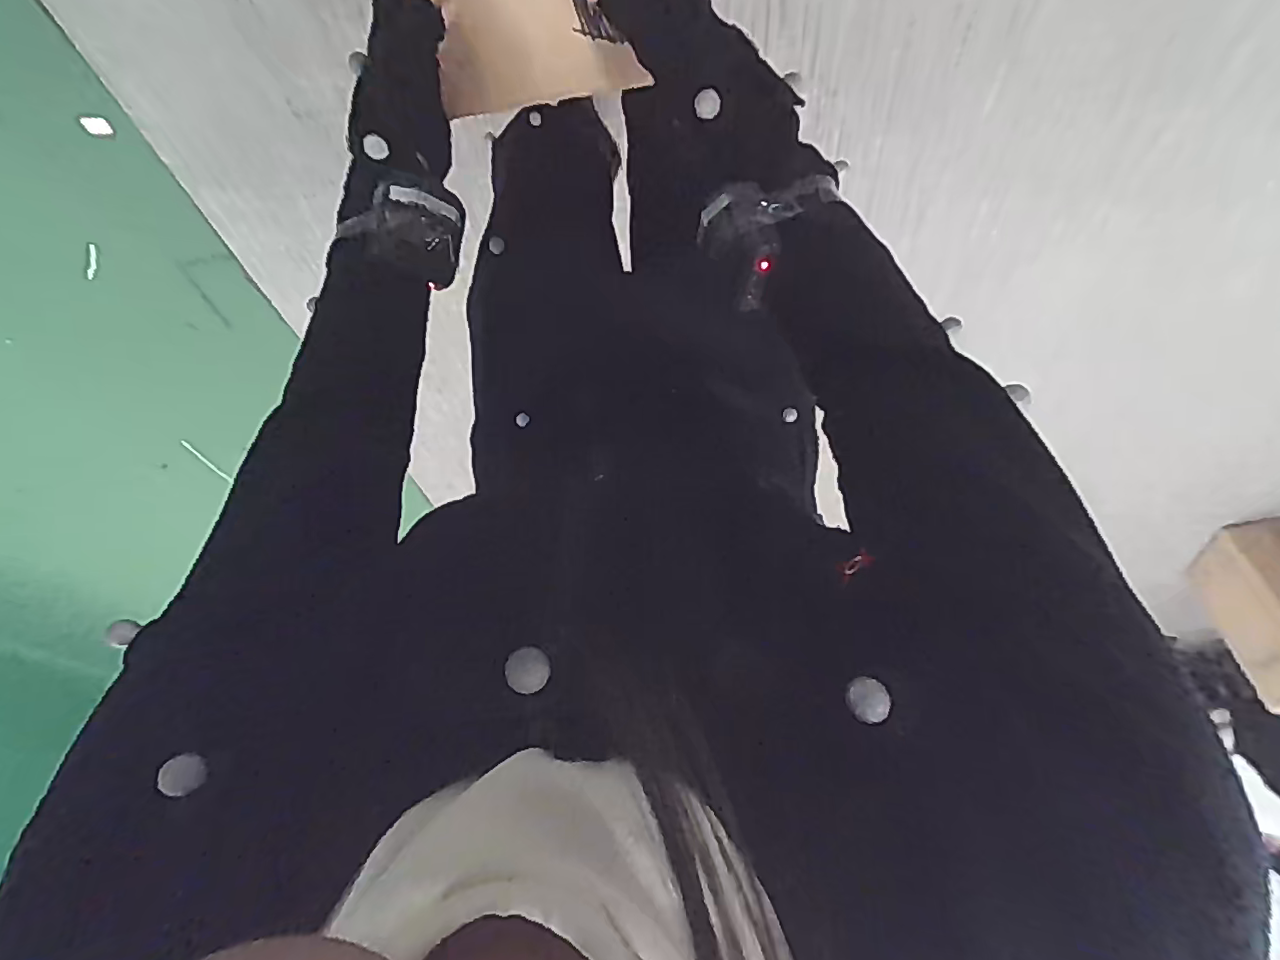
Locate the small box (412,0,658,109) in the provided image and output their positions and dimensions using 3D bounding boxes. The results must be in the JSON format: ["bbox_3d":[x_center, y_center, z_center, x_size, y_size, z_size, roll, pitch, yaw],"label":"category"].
[{"bbox_3d":[-0.080,-0.417,0.430,0.179,0.176,0.168,-4,134,4],"label":"small box"}]
